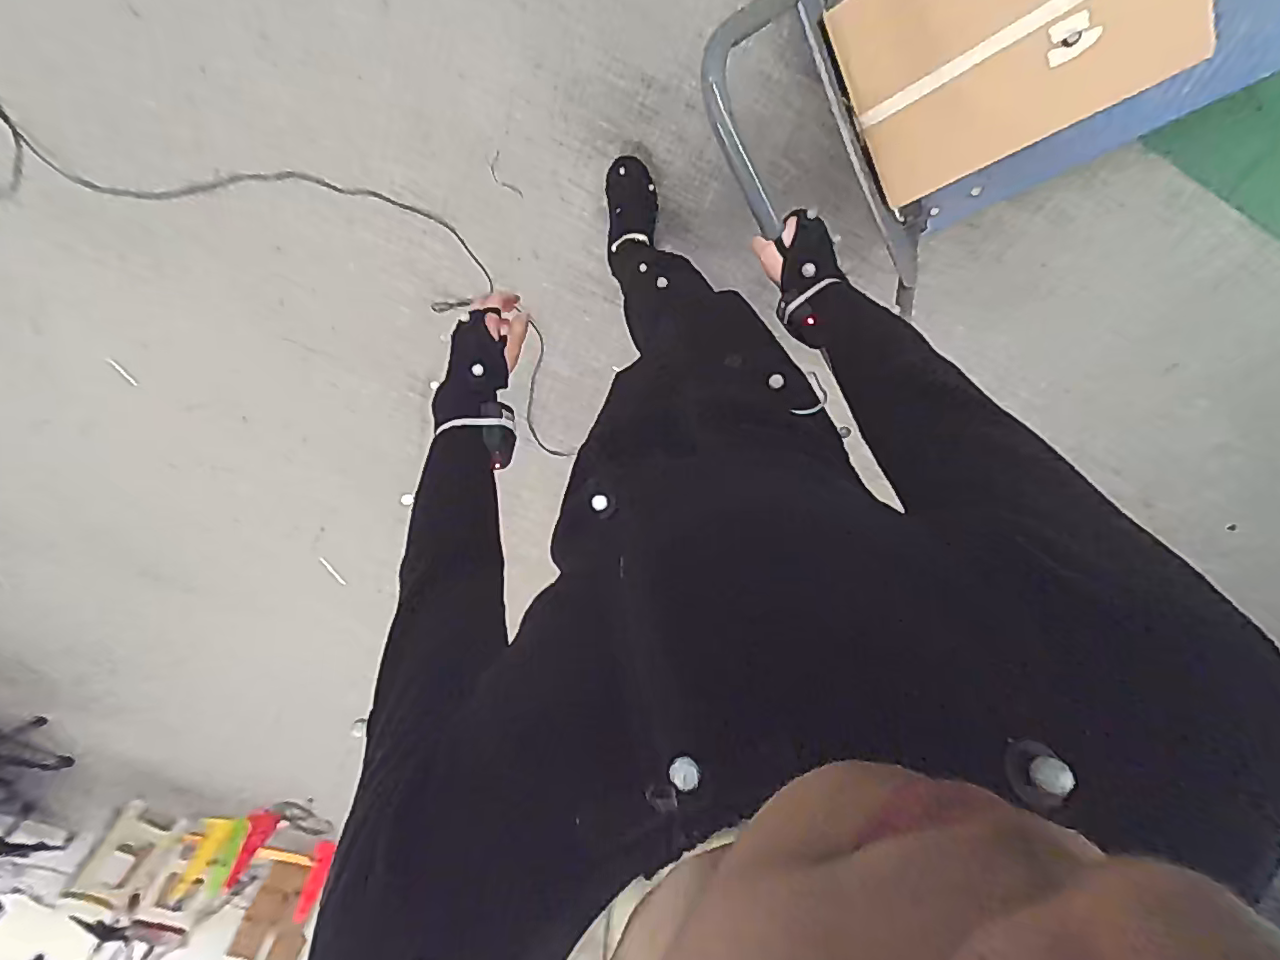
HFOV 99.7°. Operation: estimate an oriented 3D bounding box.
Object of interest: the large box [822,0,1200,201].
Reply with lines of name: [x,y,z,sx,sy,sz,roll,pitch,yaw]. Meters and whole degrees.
large box: [0.549,-0.734,0.863,0.408,0.320,0.320,-16,124,34]
